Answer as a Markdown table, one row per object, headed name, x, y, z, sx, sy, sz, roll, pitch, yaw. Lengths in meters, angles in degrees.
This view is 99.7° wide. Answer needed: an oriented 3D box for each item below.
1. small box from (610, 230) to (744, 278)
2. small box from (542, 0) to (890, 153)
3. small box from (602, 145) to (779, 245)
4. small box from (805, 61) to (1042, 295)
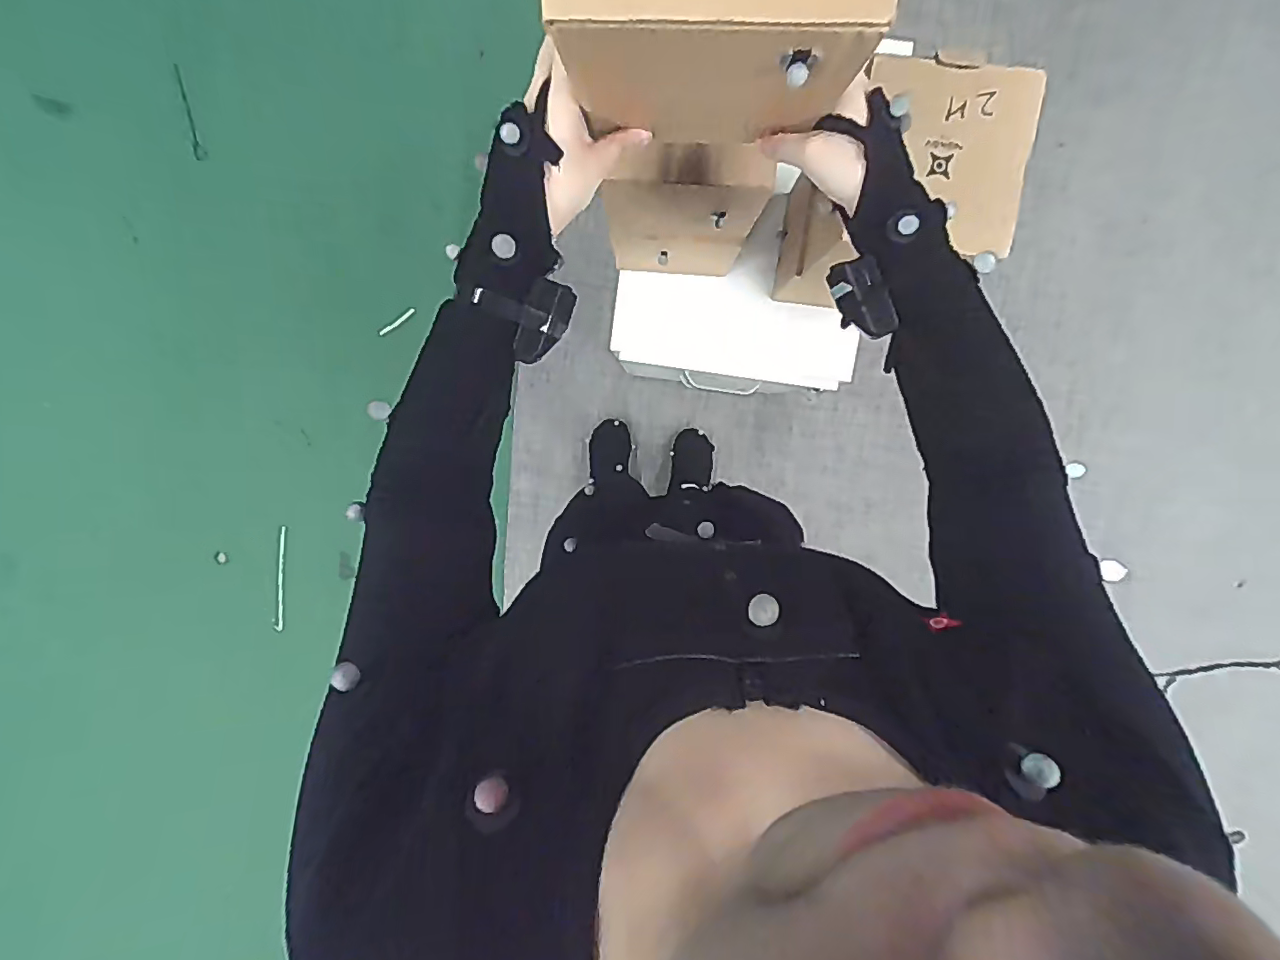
| name | x | y | z | sx | sy | sz | roll | pitch | yaw |
| --- | --- | --- | --- | --- | --- | --- | --- | --- | --- |
| small box | 0.054 | -0.395 | 0.772 | 0.179 | 0.176 | 0.168 | 3 | 98 | -1 |
| small box | 0.041 | -0.322 | 0.333 | 0.179 | 0.176 | 0.168 | 2 | 104 | 0 |
| small box | 0.052 | -0.377 | 0.609 | 0.179 | 0.176 | 0.168 | 2 | 96 | 0 |
| small box | 0.295 | -0.317 | 0.607 | 0.168 | 0.176 | 0.179 | 8 | 98 | 1 |
